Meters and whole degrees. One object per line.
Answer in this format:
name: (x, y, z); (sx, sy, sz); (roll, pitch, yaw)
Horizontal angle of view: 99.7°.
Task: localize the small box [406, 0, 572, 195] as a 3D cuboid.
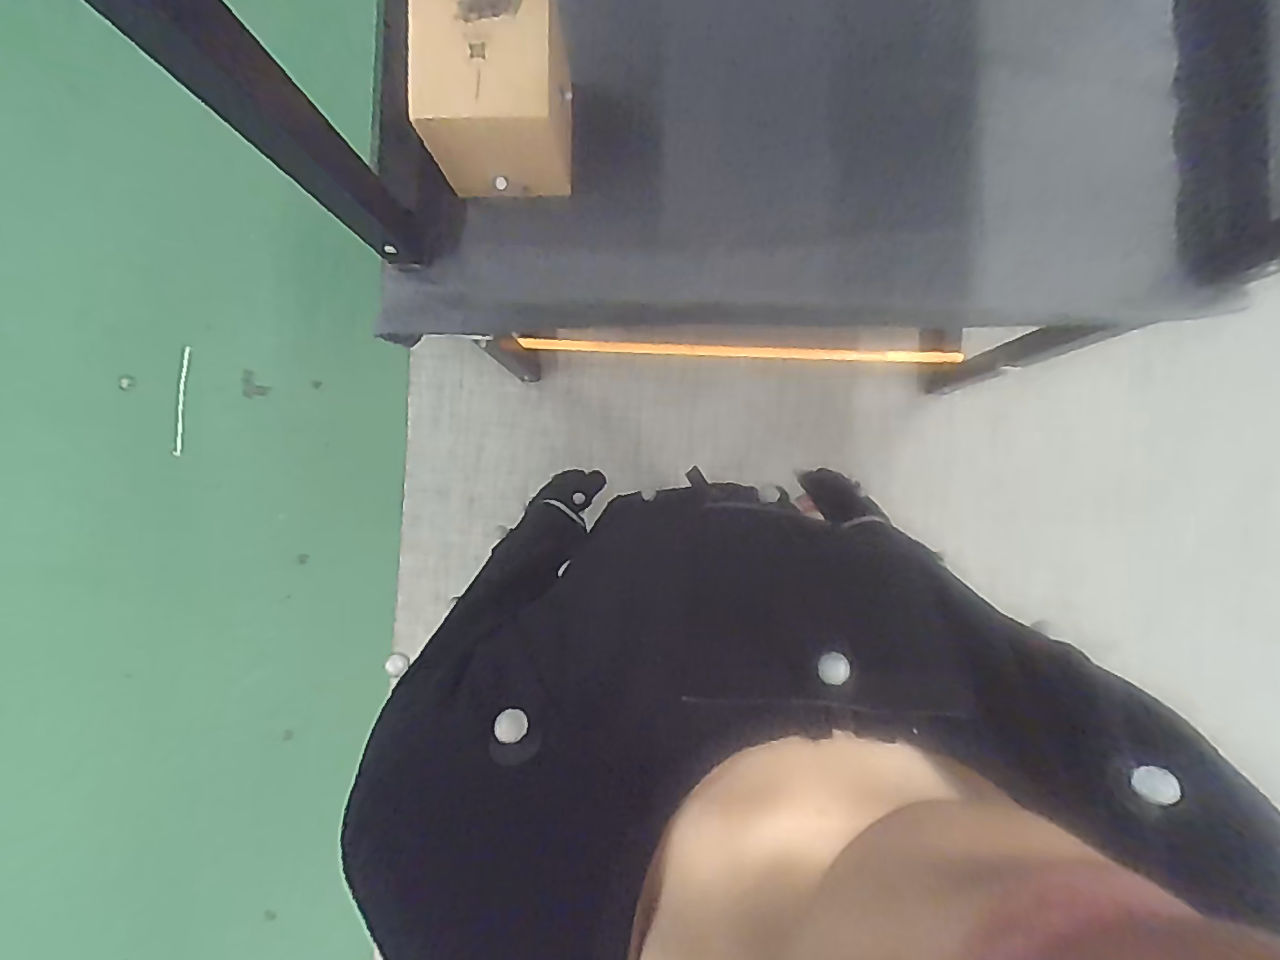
small box: (-0.183, -0.501, 0.698); (0.168, 0.176, 0.179); (0, 89, 2)
